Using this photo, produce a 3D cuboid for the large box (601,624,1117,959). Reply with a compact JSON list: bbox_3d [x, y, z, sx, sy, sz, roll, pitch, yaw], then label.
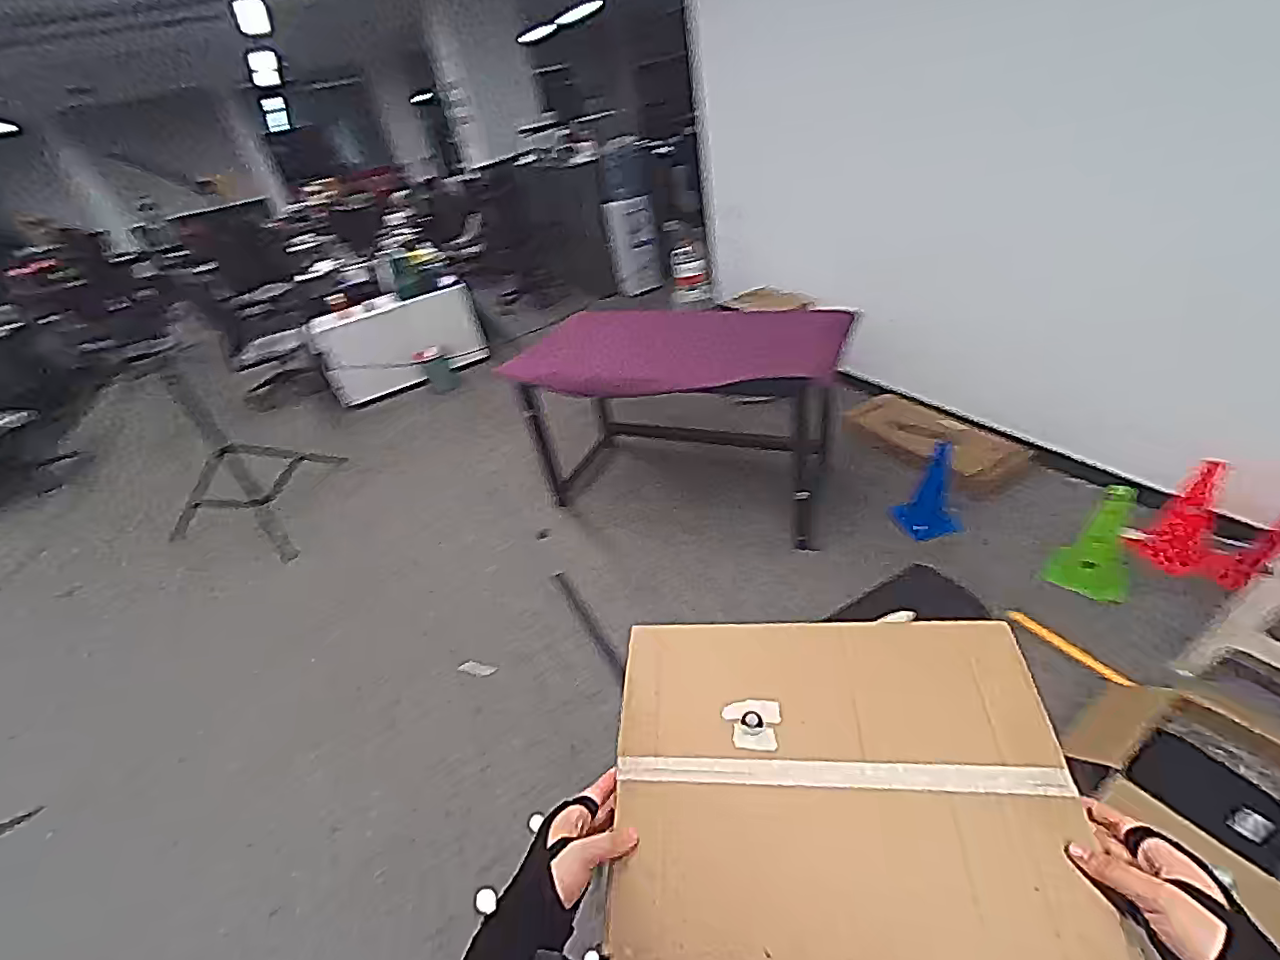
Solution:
[{"bbox_3d":[0.197,0.385,0.623,0.408,0.320,0.320,-5,47,10],"label":"large box"}]
